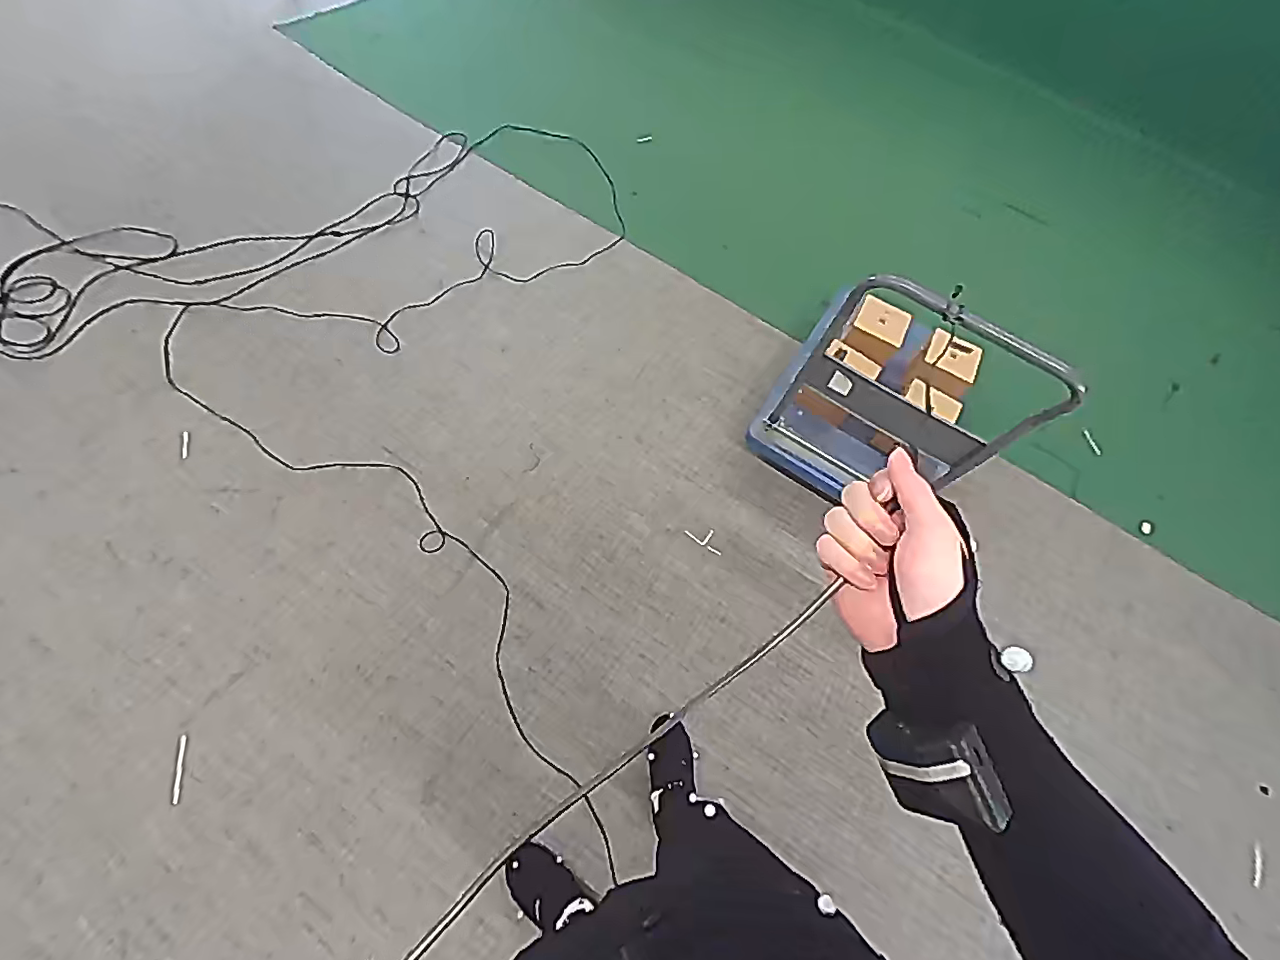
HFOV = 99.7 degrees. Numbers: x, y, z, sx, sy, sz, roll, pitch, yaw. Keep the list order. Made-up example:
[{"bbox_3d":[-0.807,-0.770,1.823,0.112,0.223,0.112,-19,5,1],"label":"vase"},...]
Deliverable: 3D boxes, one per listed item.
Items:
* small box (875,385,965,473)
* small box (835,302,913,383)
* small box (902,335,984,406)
[{"bbox_3d":[0.873,-0.157,1.699,0.168,0.176,0.179,33,62,10],"label":"small box"},{"bbox_3d":[0.798,-0.466,1.858,0.168,0.176,0.179,29,61,7],"label":"small box"},{"bbox_3d":[1.017,-0.347,1.826,0.168,0.176,0.179,29,62,8],"label":"small box"}]
